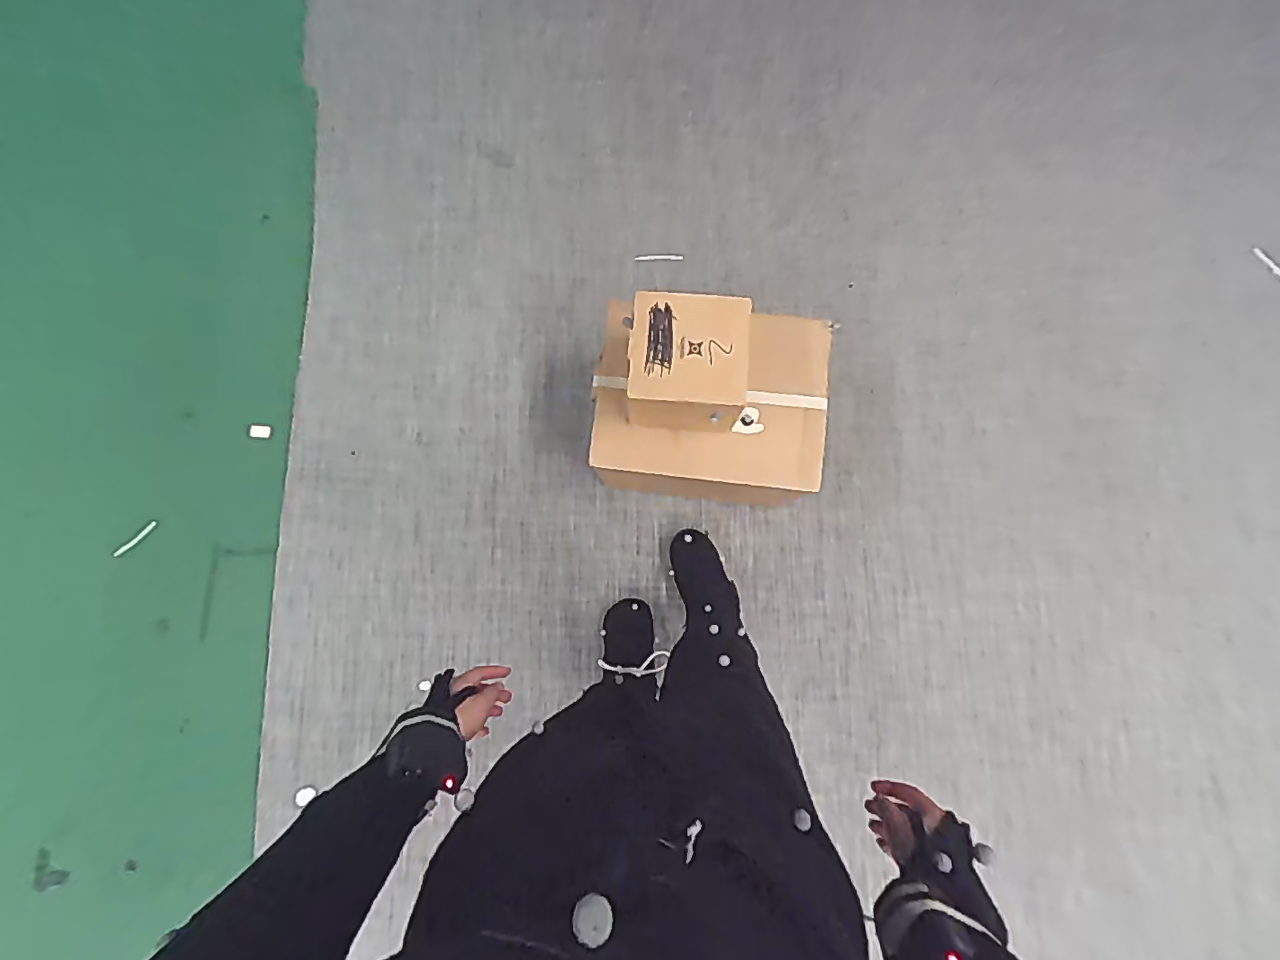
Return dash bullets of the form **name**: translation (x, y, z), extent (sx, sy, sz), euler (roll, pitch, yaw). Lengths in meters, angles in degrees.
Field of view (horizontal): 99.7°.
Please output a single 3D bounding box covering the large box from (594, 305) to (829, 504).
- **large box**: translation (0.130, -0.132, 1.103), extent (0.408, 0.320, 0.320), euler (6, 83, 2)
